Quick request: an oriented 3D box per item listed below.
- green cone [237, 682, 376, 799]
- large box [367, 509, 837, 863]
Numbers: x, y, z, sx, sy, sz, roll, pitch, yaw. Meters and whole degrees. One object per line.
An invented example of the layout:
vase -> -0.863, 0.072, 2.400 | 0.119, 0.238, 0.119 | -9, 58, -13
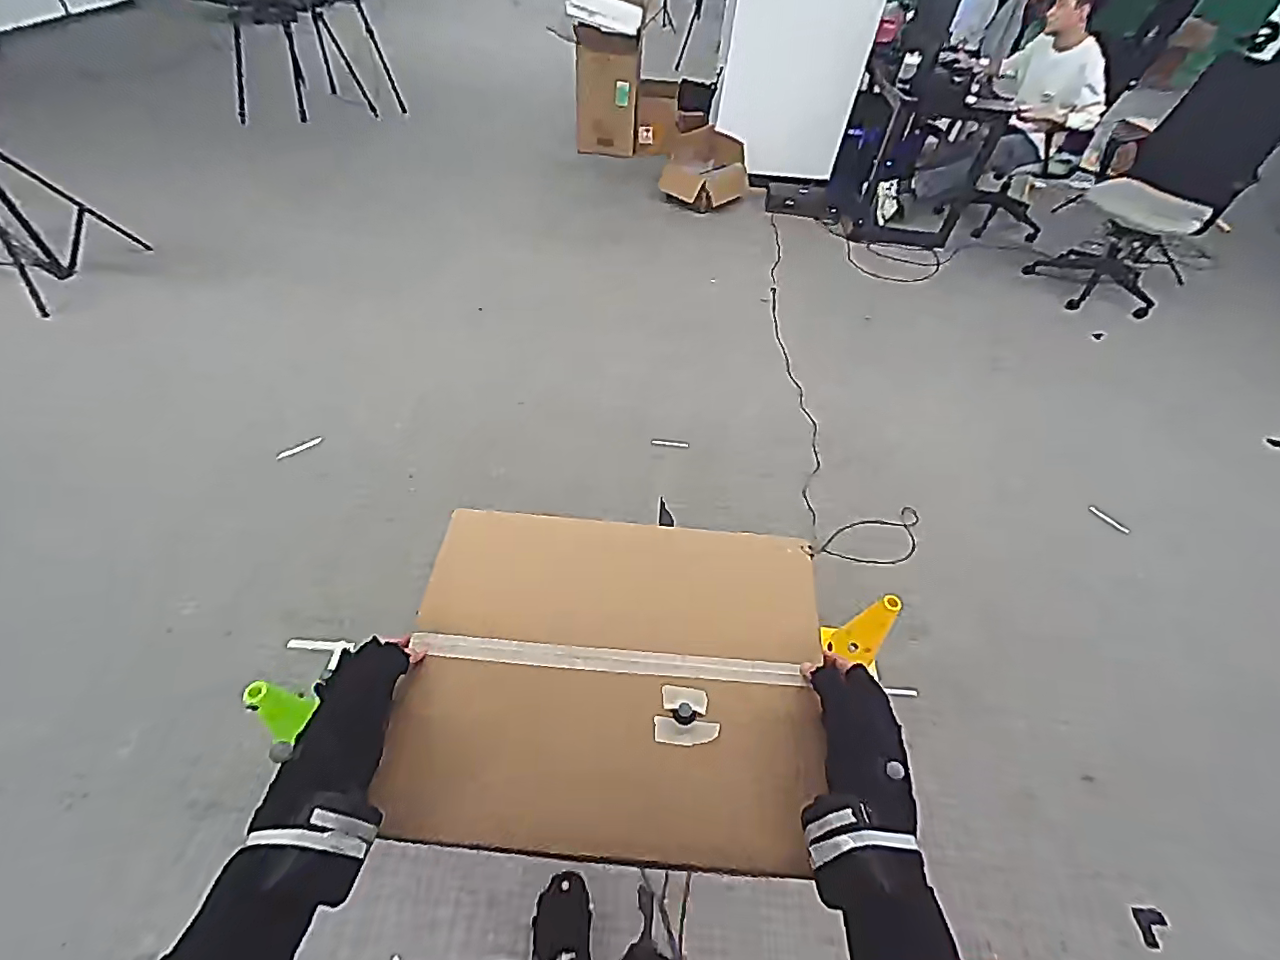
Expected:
green cone -> -0.756, 0.517, 1.177 | 0.202, 0.368, 0.200 | -25, 55, -22
large box -> -0.030, 0.259, 0.655 | 0.408, 0.320, 0.320 | 6, 55, 1
